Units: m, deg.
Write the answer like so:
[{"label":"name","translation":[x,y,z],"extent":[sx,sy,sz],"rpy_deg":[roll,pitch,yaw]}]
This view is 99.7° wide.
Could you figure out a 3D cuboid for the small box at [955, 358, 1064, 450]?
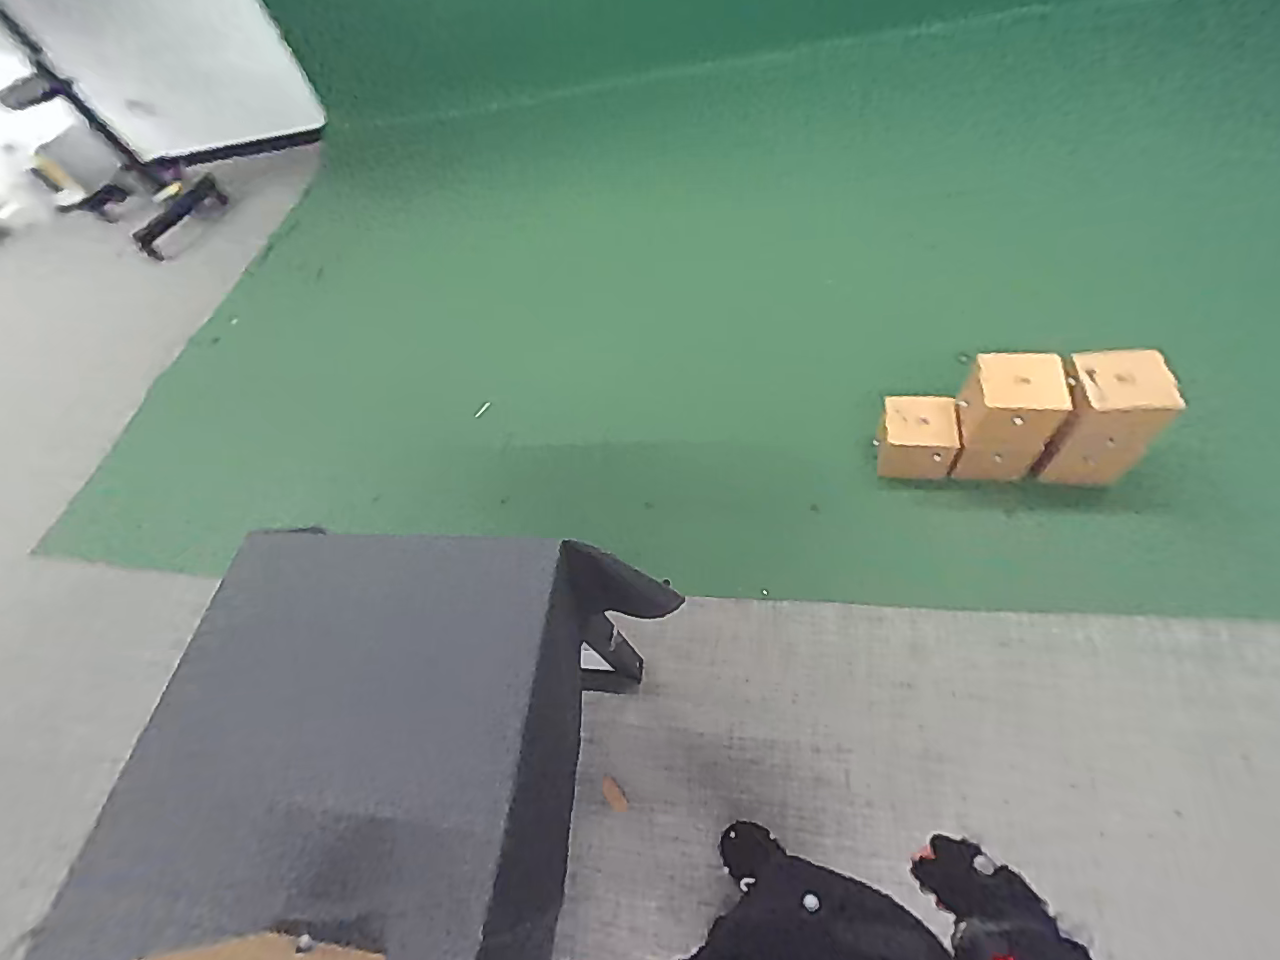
[{"label":"small box","translation":[0.913,-0.187,1.353],"extent":[0.179,0.176,0.168],"rpy_deg":[4,60,17]}]

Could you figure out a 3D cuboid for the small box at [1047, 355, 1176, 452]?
[{"label":"small box","translation":[1.108,-0.180,1.300],"extent":[0.179,0.176,0.168],"rpy_deg":[0,58,12]}]
